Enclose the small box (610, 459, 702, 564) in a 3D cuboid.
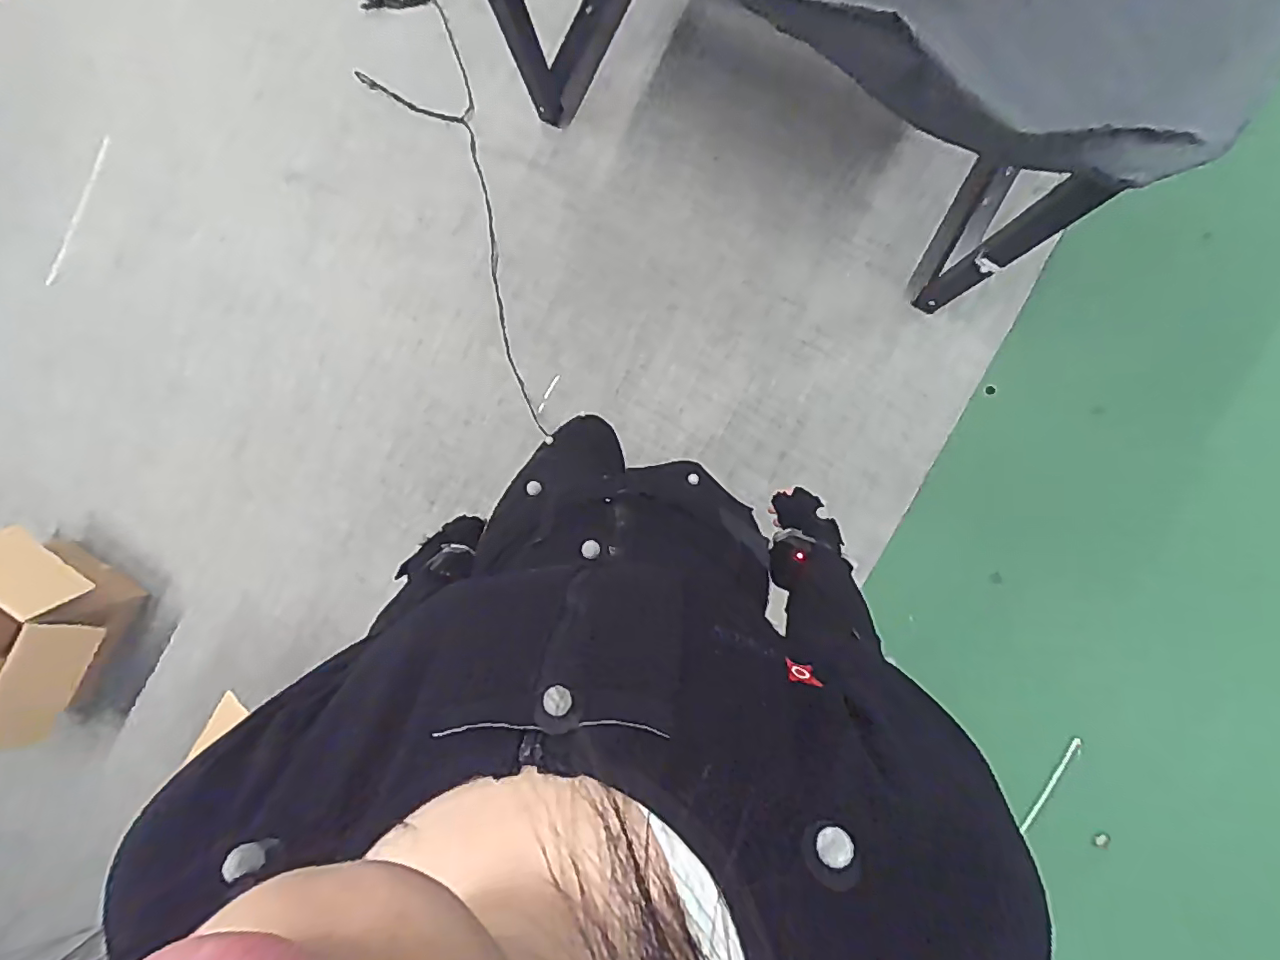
[{"bbox_3d":[0.043,0.083,1.406,0.179,0.176,0.168,-33,58,-17],"label":"small box"}]
